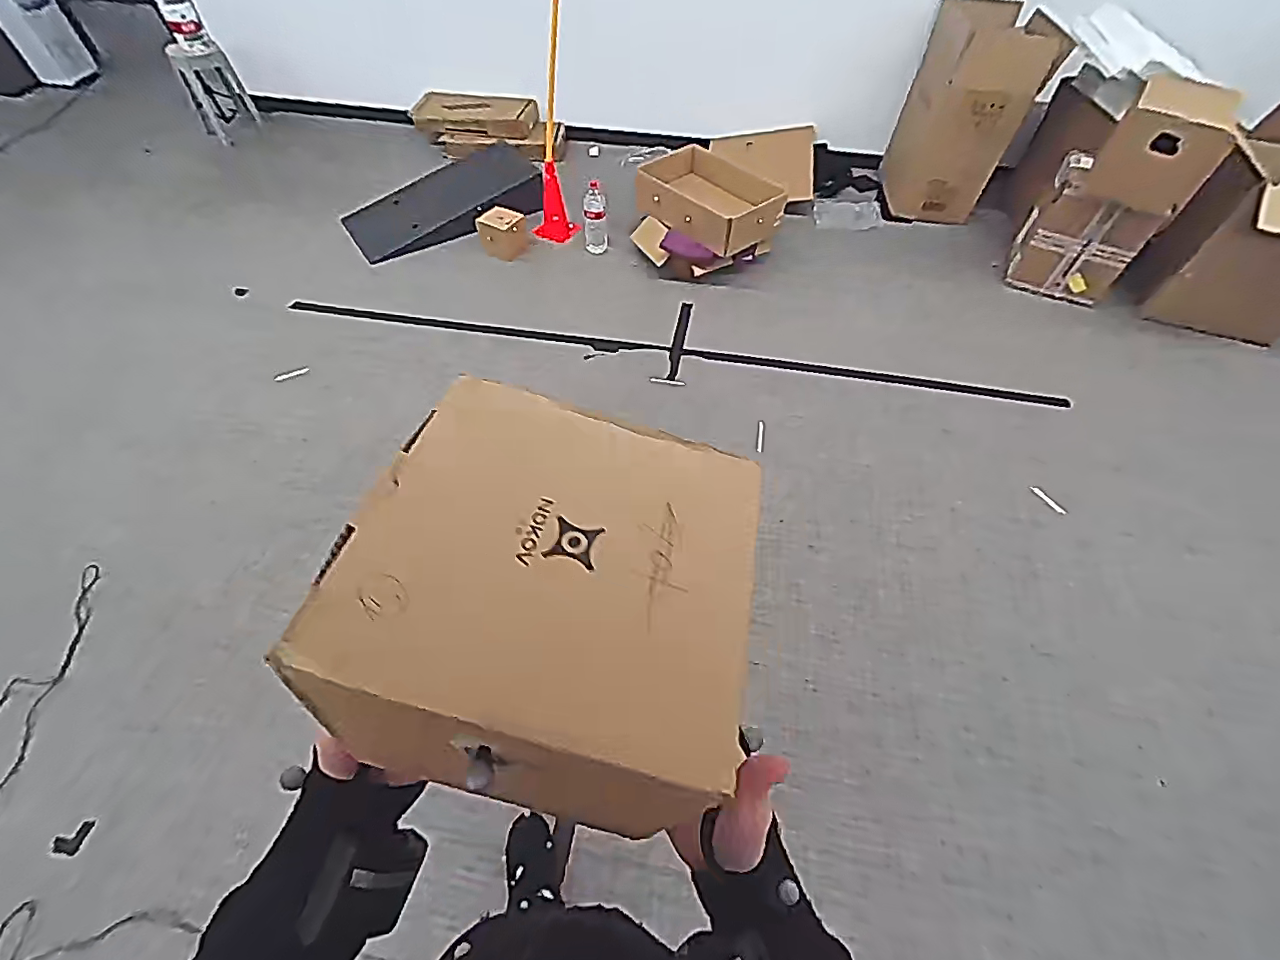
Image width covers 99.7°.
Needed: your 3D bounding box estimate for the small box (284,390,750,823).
[{"bbox_3d":[-0.052,0.081,0.316,0.179,0.176,0.168,16,50,-1],"label":"small box"}]
